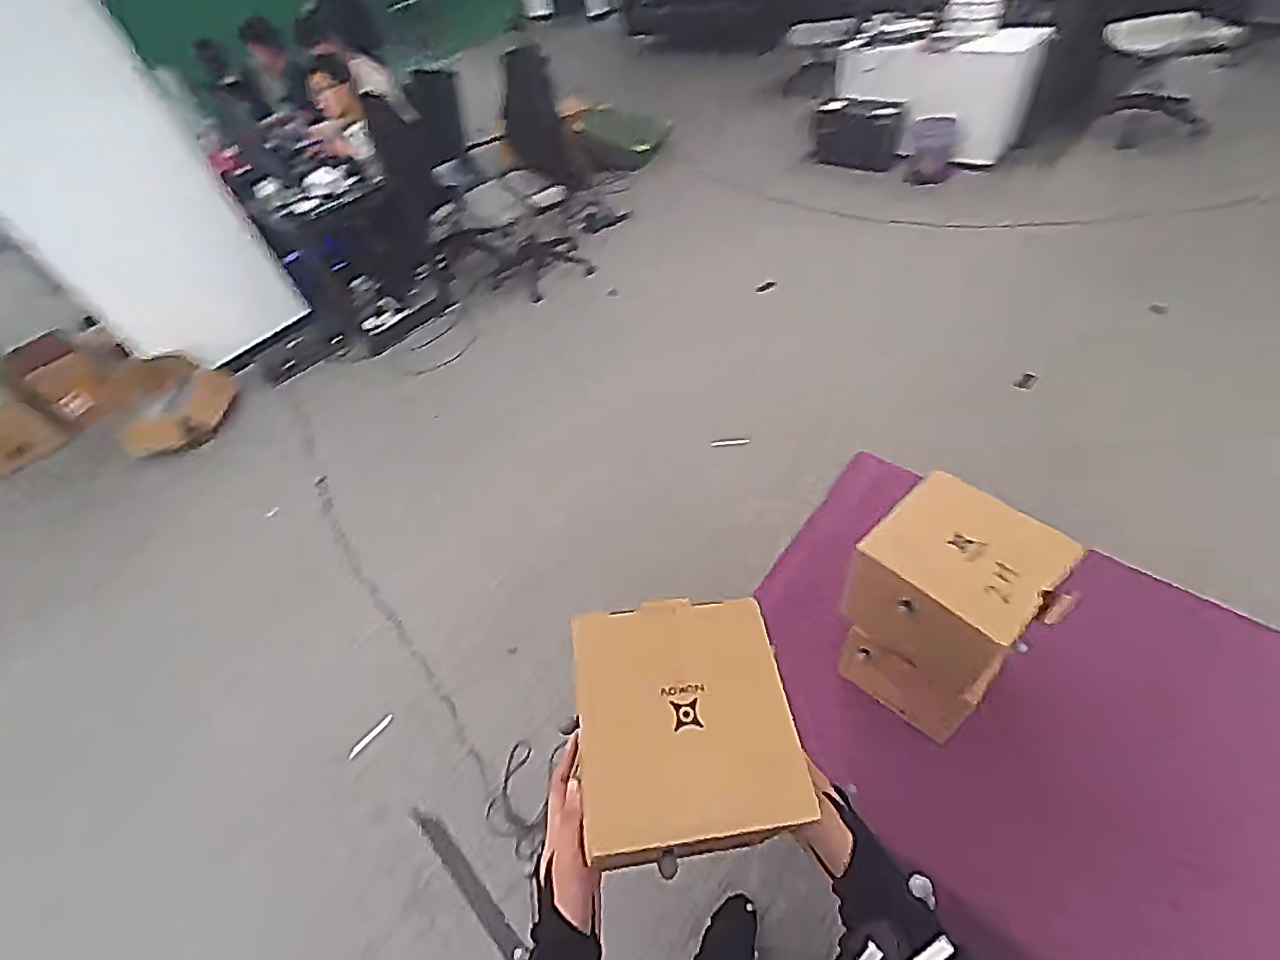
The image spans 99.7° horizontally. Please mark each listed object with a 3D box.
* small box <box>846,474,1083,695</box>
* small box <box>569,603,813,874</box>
[{"bbox_3d":[0.383,0.131,0.675,0.168,0.176,0.179,-36,53,-18],"label":"small box"},{"bbox_3d":[0.027,0.234,0.485,0.168,0.176,0.179,-4,50,-9],"label":"small box"}]
